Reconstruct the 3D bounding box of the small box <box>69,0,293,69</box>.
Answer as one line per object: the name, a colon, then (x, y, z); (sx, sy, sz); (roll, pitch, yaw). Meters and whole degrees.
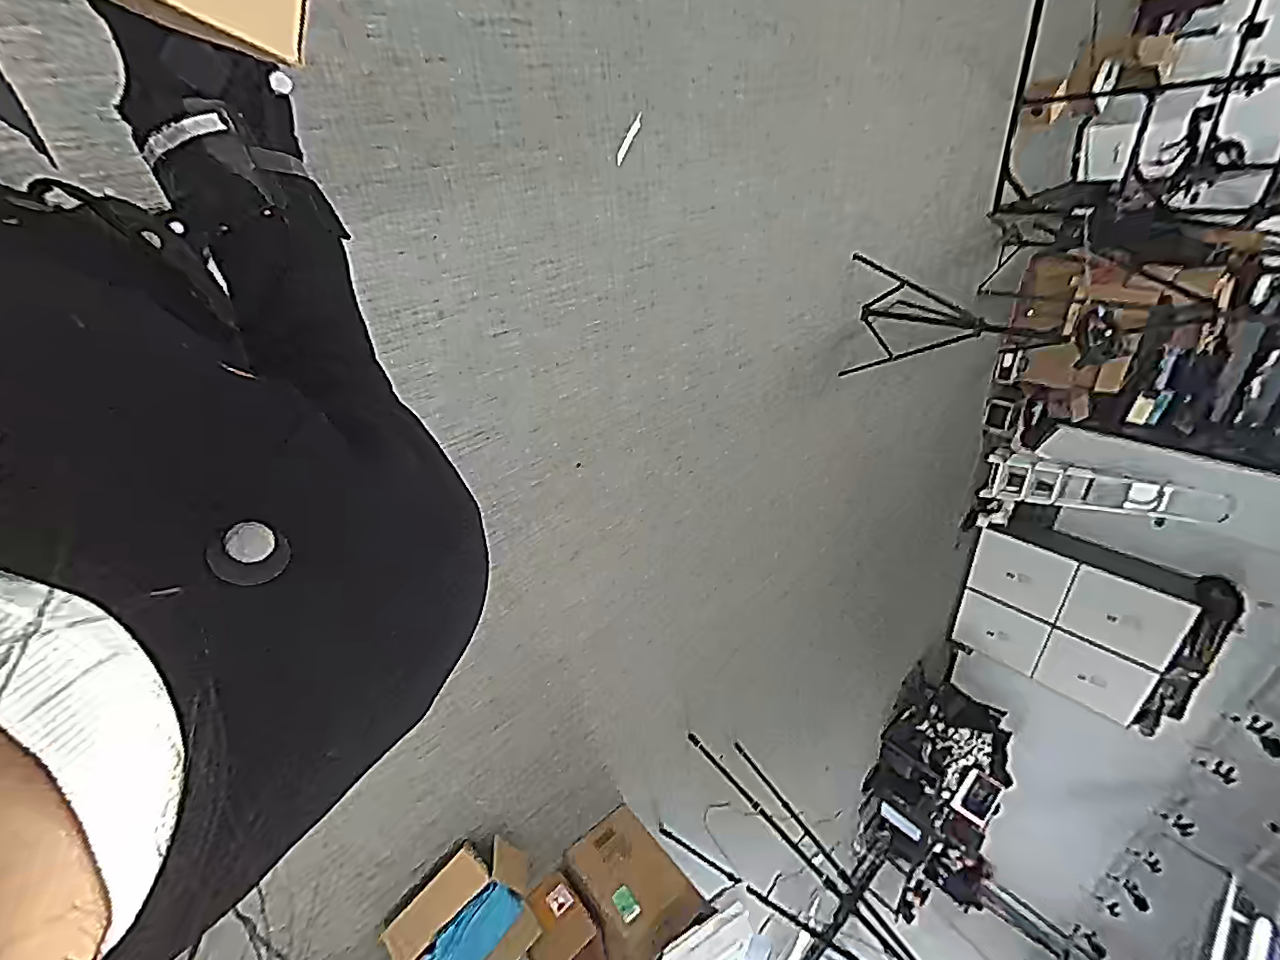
small box: (-0.231, -0.277, 0.168); (0.176, 0.168, 0.179); (-11, 128, -55)
